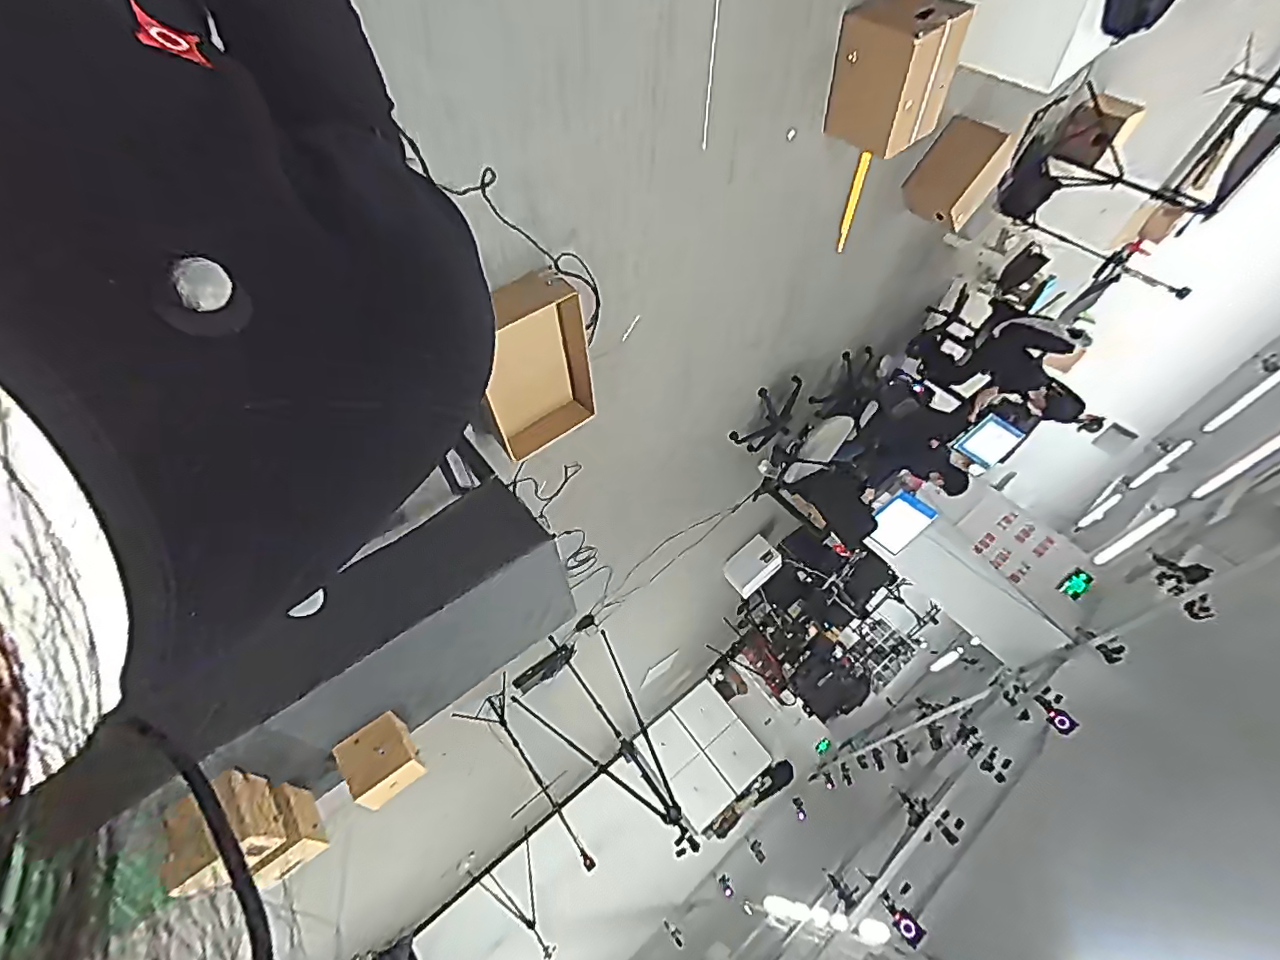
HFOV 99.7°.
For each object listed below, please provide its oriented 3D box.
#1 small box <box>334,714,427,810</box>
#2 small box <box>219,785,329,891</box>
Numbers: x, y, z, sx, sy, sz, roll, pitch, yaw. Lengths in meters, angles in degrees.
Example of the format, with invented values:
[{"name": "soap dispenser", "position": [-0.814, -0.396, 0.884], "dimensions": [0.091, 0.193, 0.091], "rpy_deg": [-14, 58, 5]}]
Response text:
[{"name": "small box", "position": [-0.748, 0.809, 1.560], "dimensions": [0.168, 0.176, 0.179], "rpy_deg": [-31, 151, -25]}, {"name": "small box", "position": [-0.972, 0.950, 1.441], "dimensions": [0.168, 0.176, 0.179], "rpy_deg": [-32, 150, -25]}]
